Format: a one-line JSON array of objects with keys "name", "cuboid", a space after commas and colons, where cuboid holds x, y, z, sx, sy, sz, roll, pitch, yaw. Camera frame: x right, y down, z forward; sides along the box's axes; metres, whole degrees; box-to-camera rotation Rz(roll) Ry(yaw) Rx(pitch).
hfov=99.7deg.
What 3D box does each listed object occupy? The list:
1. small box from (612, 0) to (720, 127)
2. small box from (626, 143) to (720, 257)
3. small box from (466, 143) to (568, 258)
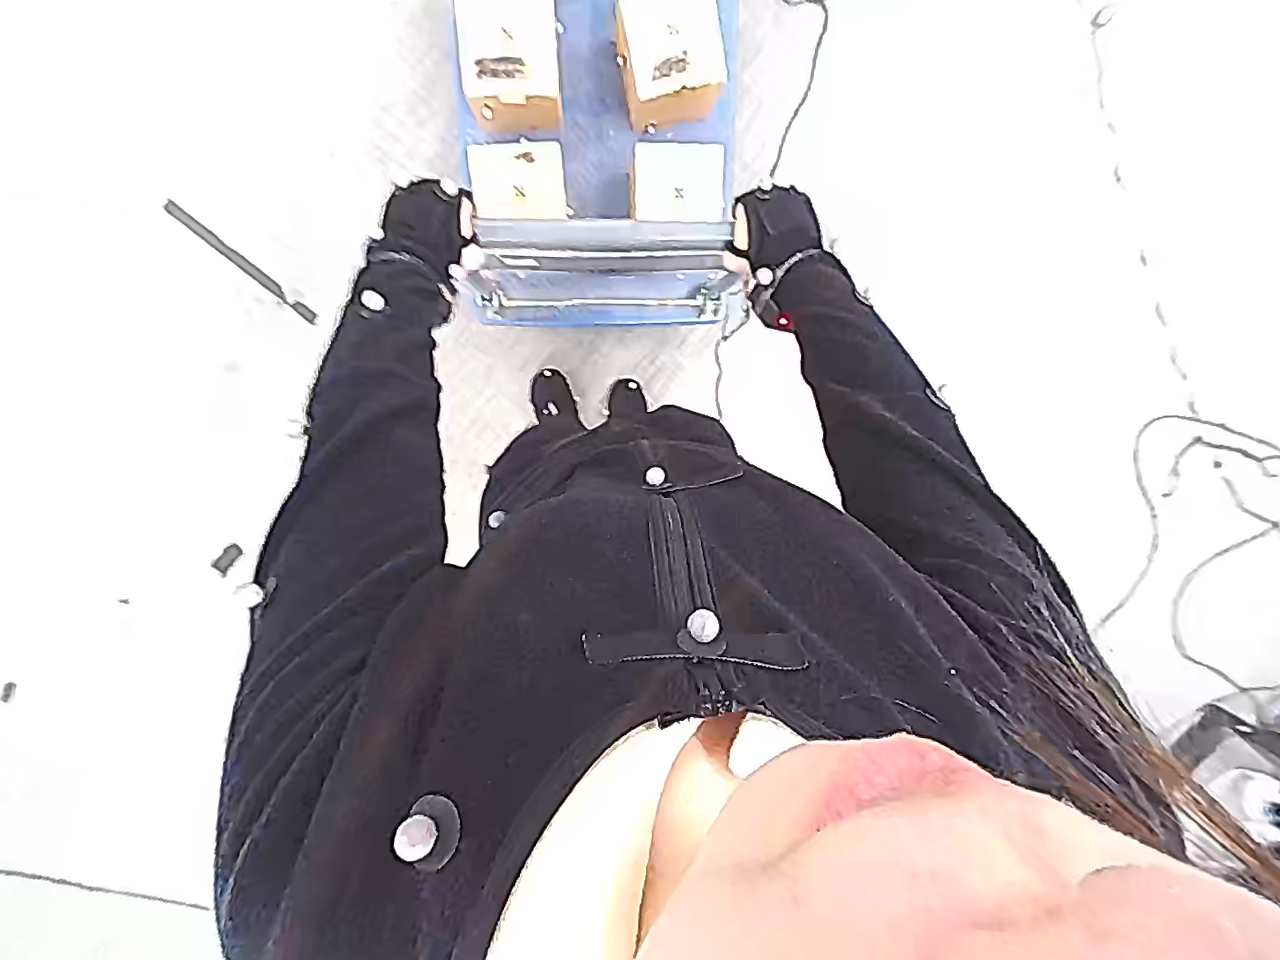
[{"name": "small box", "cuboid": [0.045, -0.808, 1.037, 0.168, 0.176, 0.179, -13, 104, -2]}, {"name": "small box", "cuboid": [0.061, -0.559, 1.103, 0.168, 0.176, 0.179, -1, 104, -6]}, {"name": "small box", "cuboid": [-0.235, -0.545, 1.077, 0.168, 0.176, 0.179, -6, 105, -5]}]
